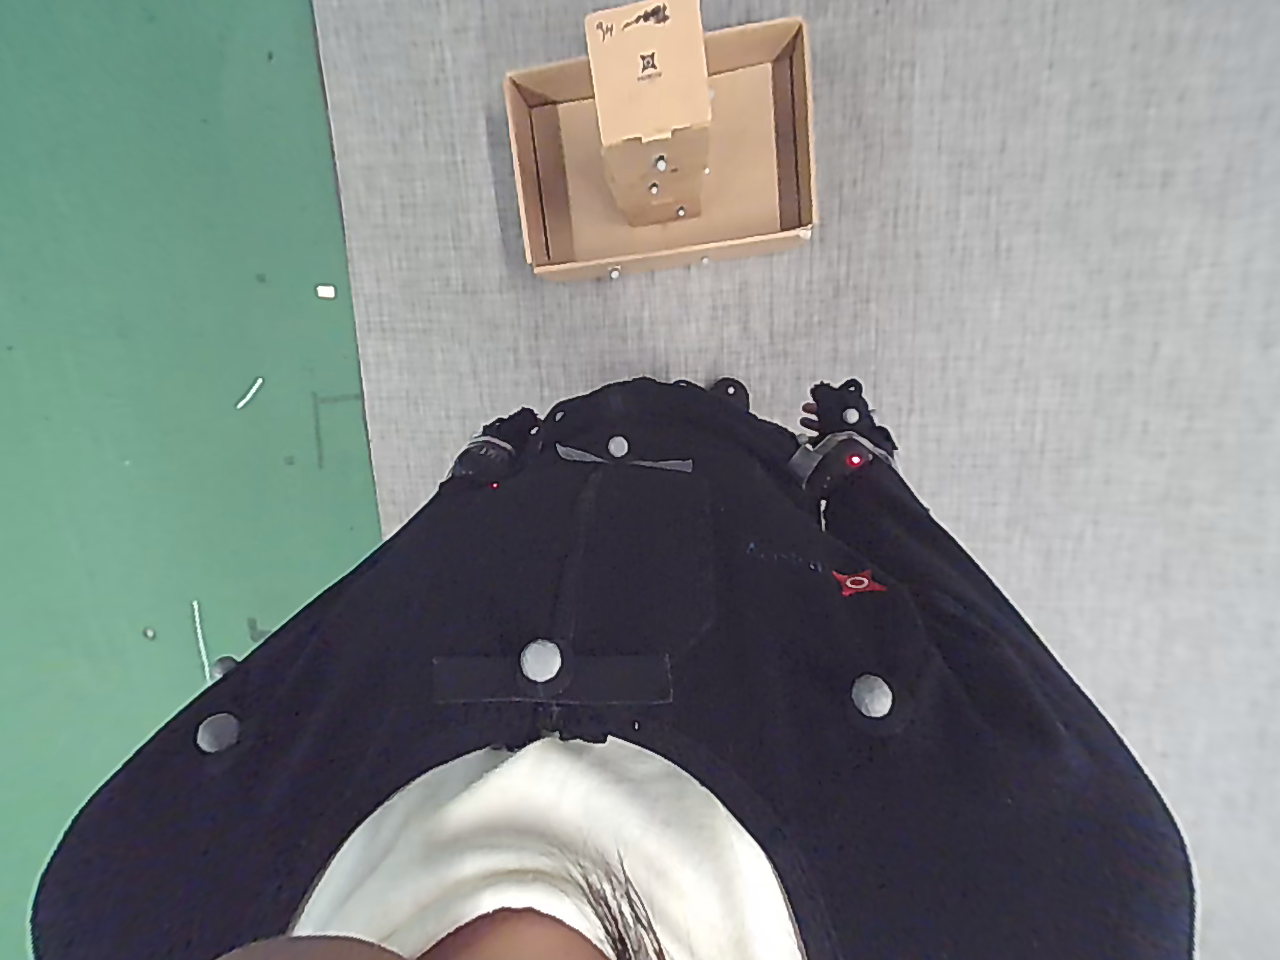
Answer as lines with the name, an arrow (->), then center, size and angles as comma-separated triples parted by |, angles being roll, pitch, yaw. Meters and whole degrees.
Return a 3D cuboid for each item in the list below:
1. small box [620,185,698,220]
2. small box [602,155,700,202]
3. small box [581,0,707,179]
small box -> 0.037, -0.682, 1.174 | 0.168, 0.176, 0.179 | -5, 99, 7
small box -> 0.022, -0.649, 1.031 | 0.179, 0.176, 0.168 | -4, 100, 7
small box -> 0.016, -0.612, 0.874 | 0.168, 0.176, 0.179 | -8, 99, 9
